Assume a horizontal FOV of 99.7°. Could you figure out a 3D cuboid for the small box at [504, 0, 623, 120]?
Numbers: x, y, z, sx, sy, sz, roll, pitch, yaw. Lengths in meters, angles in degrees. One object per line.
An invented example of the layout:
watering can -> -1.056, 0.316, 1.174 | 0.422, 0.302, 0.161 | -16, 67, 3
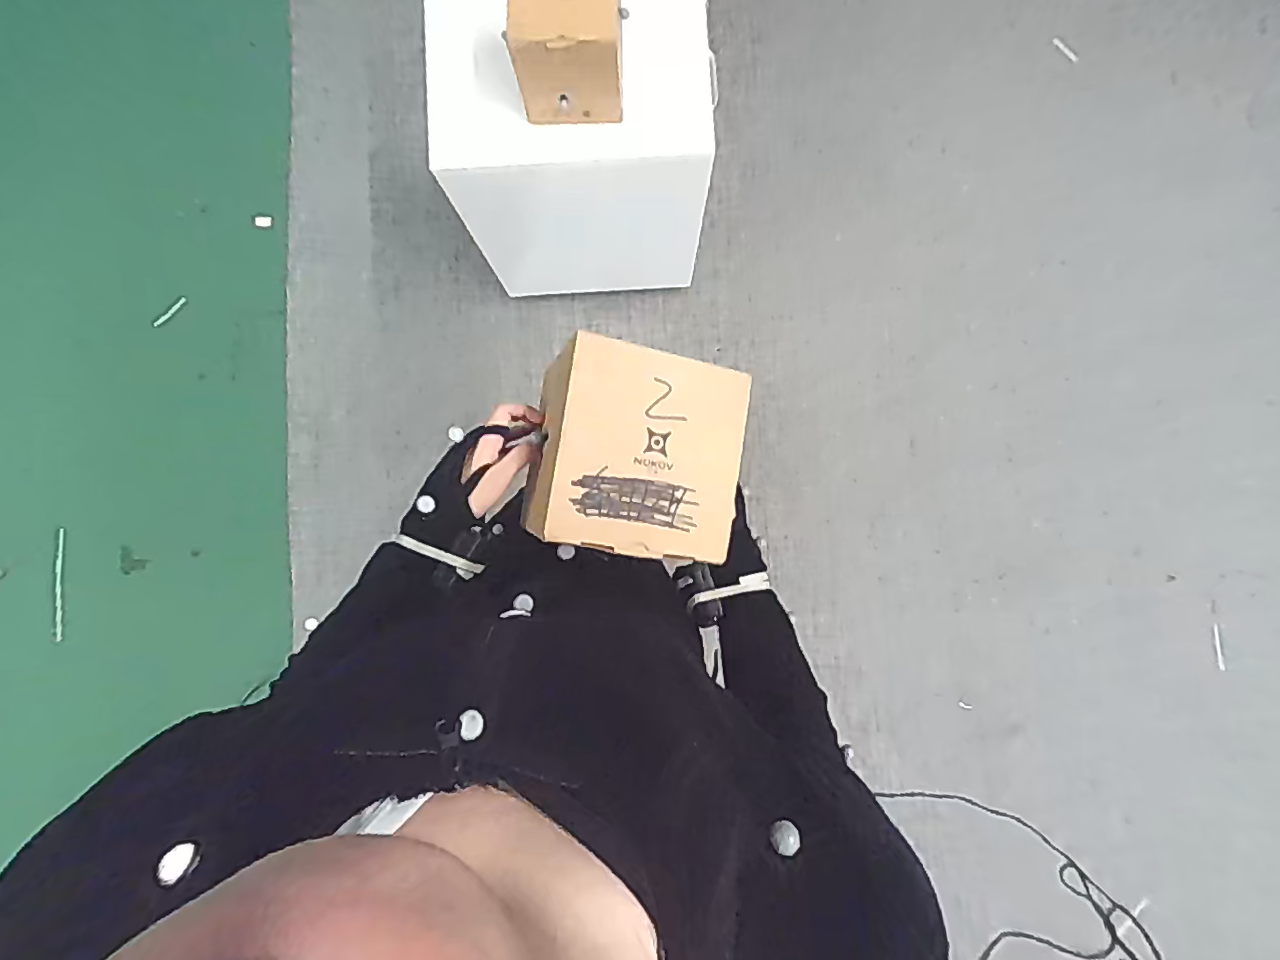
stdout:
small box -> -0.115, -0.721, 0.867 | 0.168, 0.176, 0.179 | -1, 85, 1
